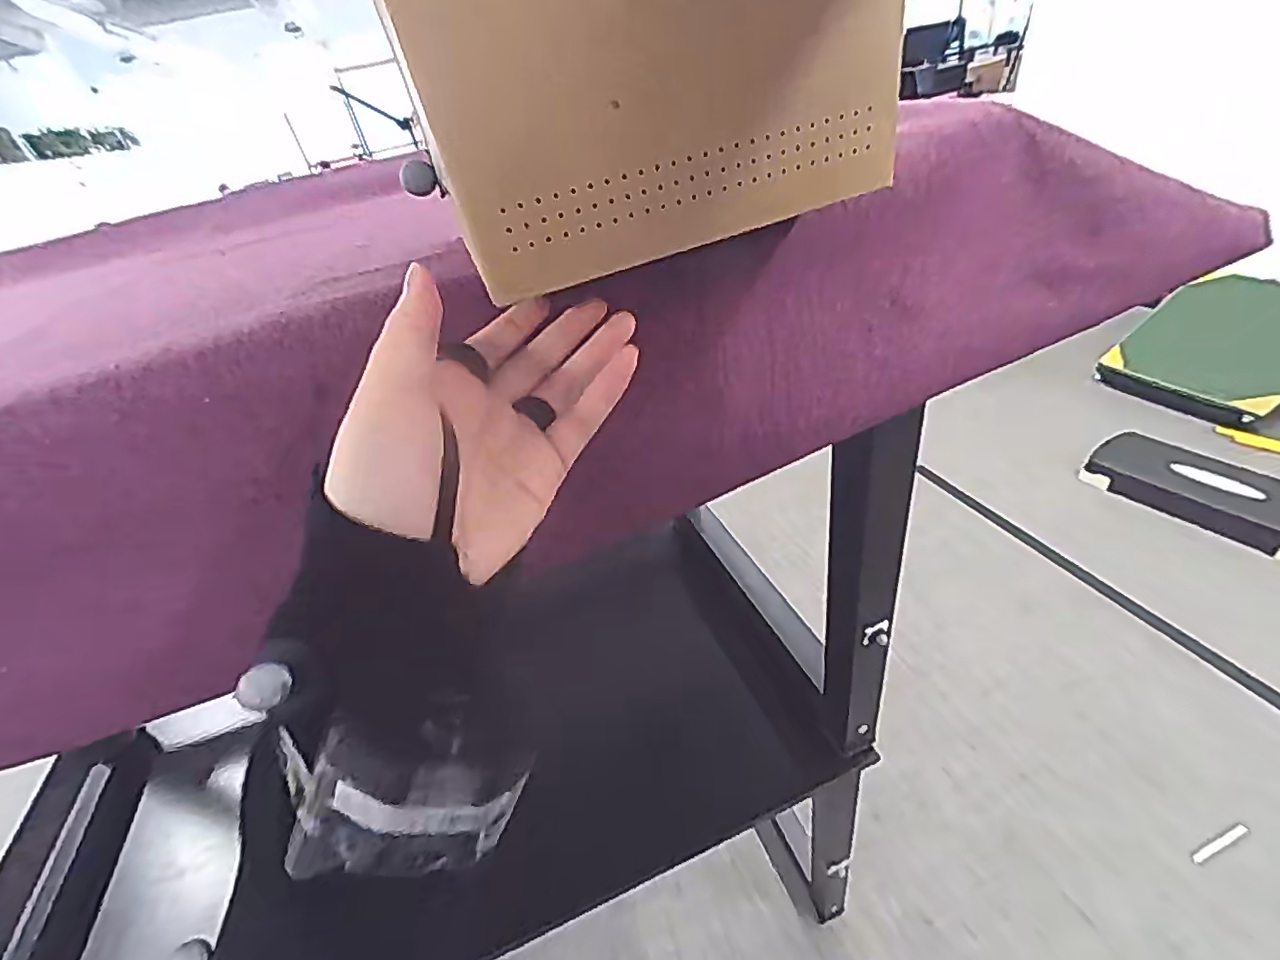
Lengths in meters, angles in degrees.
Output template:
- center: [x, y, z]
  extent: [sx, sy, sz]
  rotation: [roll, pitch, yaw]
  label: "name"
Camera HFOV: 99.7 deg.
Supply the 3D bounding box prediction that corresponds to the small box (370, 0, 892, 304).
- center: [-0.015, -0.195, 0.225]
  extent: [0.179, 0.176, 0.168]
  rotation: [-21, 36, -9]
  label: "small box"
